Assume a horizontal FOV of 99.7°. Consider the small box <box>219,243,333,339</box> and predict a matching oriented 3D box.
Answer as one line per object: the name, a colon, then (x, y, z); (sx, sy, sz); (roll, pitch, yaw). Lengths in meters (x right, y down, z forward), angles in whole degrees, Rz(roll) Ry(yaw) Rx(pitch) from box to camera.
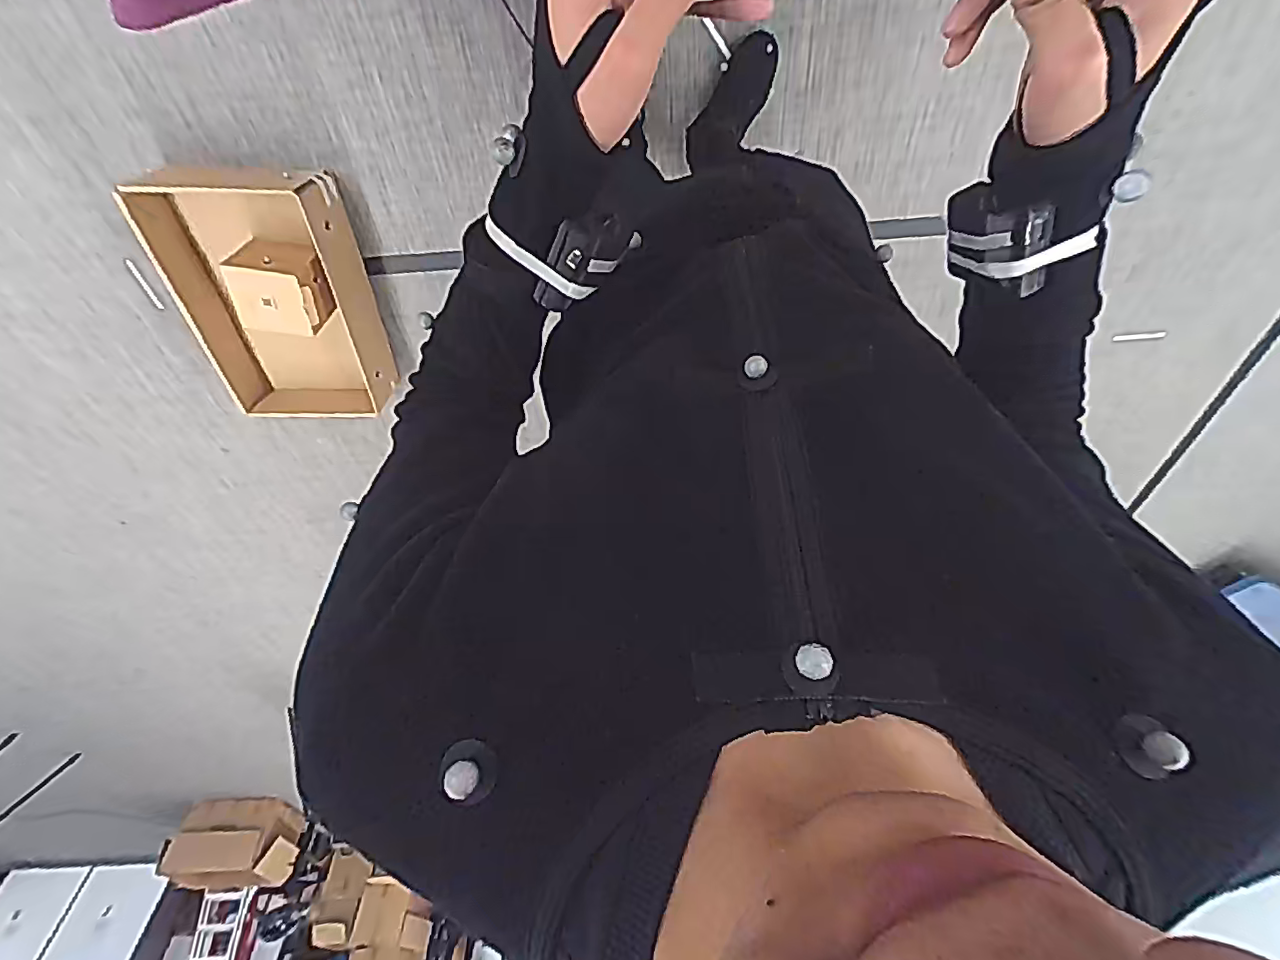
small box: (-0.905, -0.481, 1.370); (0.179, 0.176, 0.168); (6, 133, -8)
